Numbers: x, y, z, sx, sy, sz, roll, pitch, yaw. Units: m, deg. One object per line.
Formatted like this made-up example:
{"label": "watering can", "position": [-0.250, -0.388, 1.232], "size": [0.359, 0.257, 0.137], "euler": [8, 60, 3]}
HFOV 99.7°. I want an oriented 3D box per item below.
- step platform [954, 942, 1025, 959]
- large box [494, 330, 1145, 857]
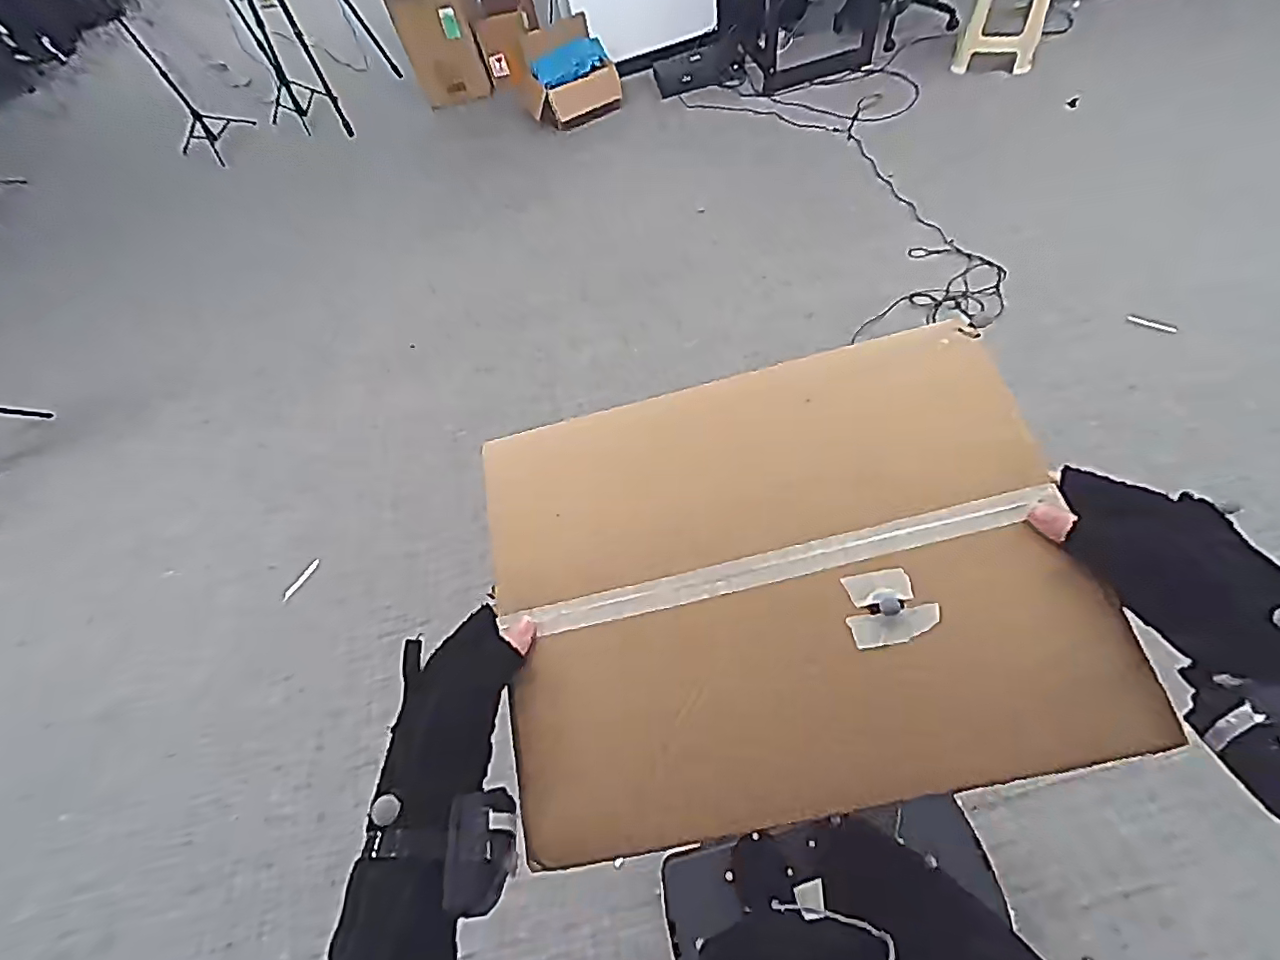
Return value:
{"label": "step platform", "position": [0.433, 1.087, 0.943], "size": [0.684, 0.204, 0.286], "euler": [-18, 57, 2]}
{"label": "large box", "position": [0.116, 0.115, 0.541], "size": [0.408, 0.320, 0.320], "euler": [-15, 69, 4]}
